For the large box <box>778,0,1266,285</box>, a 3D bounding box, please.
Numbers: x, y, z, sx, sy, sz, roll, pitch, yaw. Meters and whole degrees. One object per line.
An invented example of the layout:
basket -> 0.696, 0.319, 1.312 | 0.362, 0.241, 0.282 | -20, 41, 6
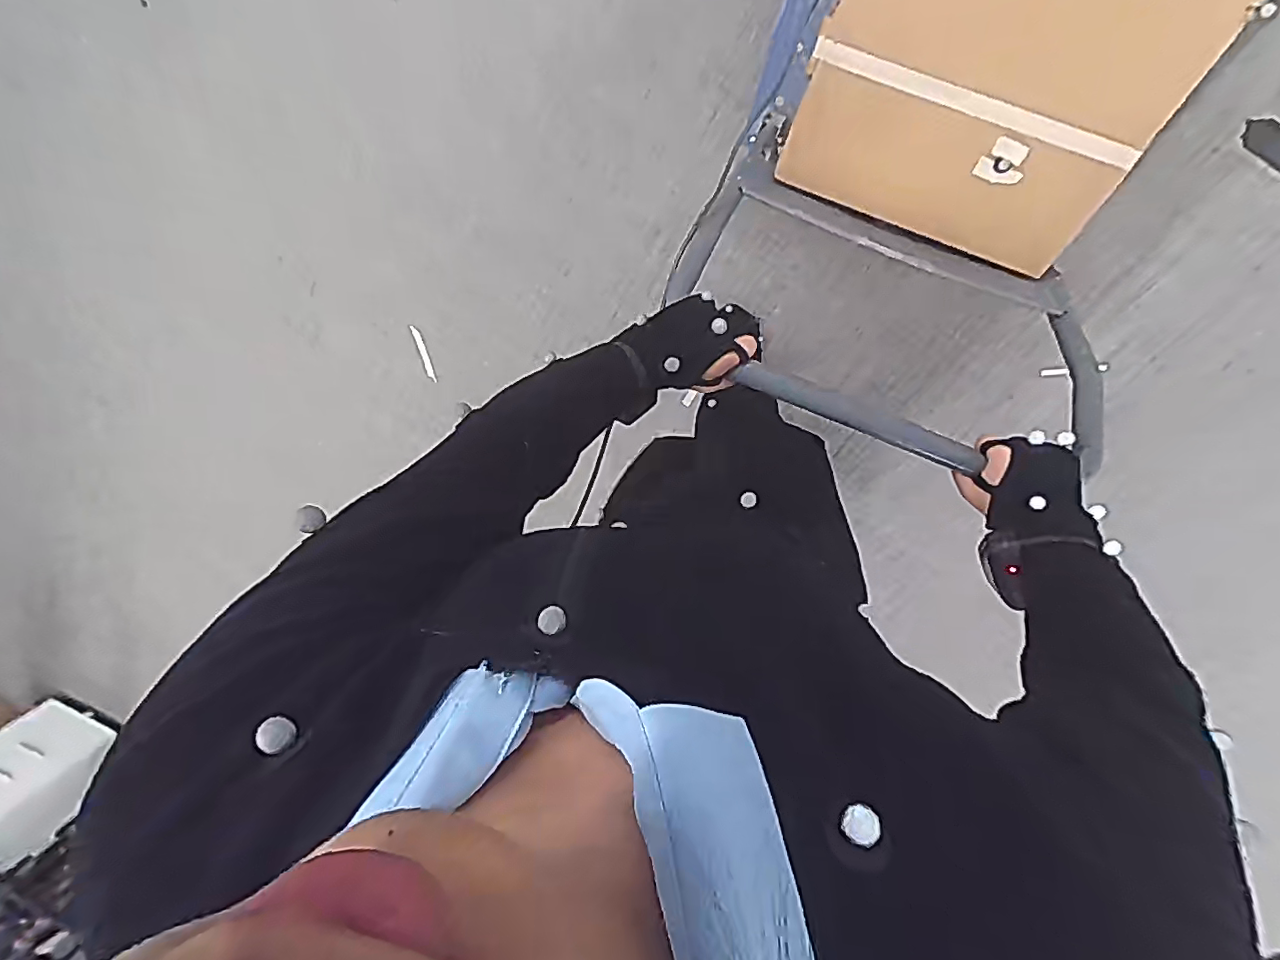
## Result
large box -> 0.455, -0.540, 0.763 | 0.408, 0.320, 0.320 | 22, 136, 2
